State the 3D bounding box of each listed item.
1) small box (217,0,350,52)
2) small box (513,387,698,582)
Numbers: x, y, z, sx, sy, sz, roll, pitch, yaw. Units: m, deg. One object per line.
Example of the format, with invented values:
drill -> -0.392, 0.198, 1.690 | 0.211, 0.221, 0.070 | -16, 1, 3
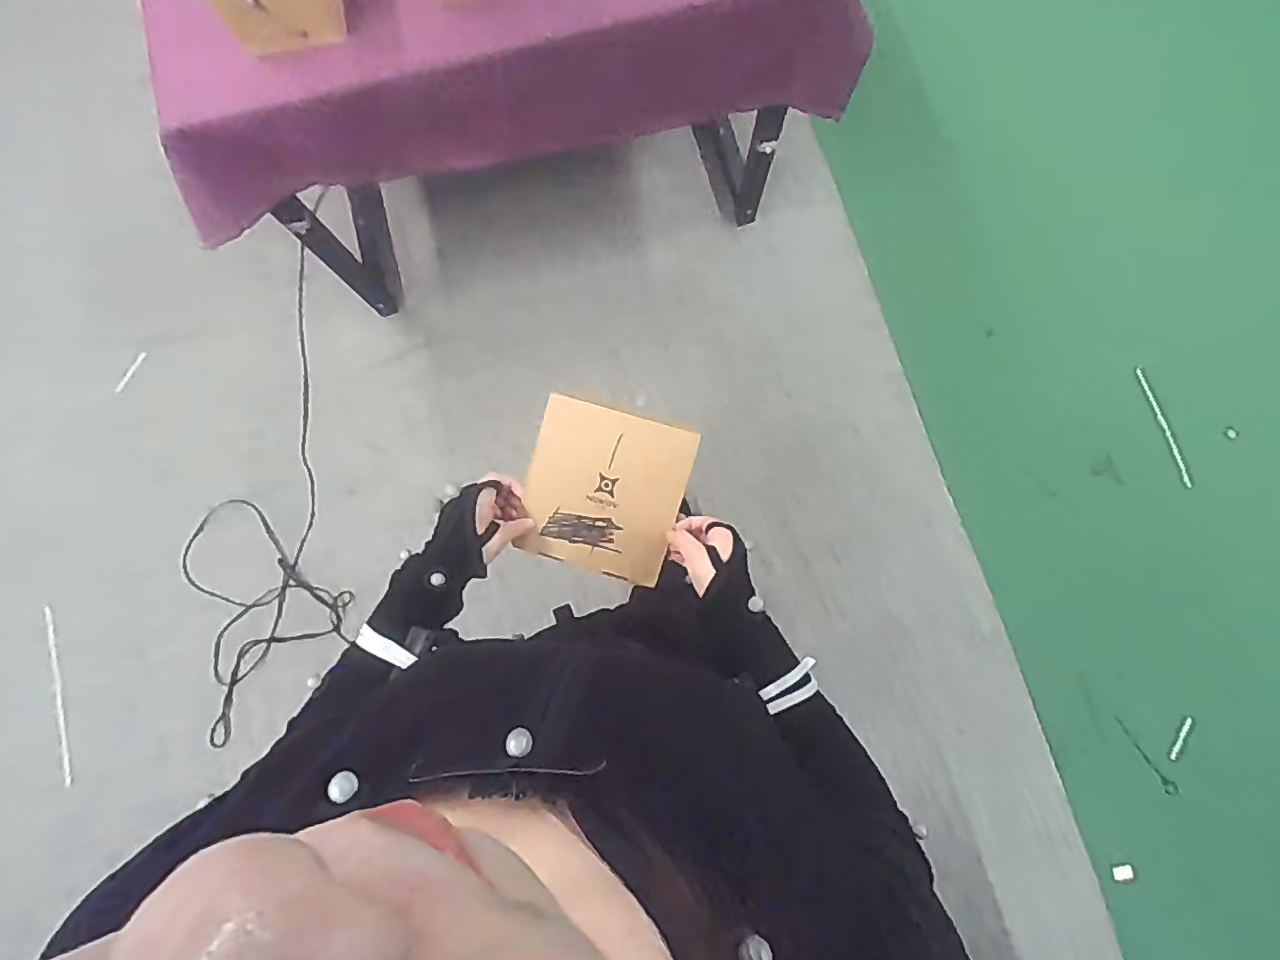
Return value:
small box -> -0.592, -0.834, 0.869 | 0.168, 0.176, 0.179 | -11, 80, -1
small box -> -0.033, -0.004, 0.652 | 0.168, 0.176, 0.179 | 16, 98, 1
